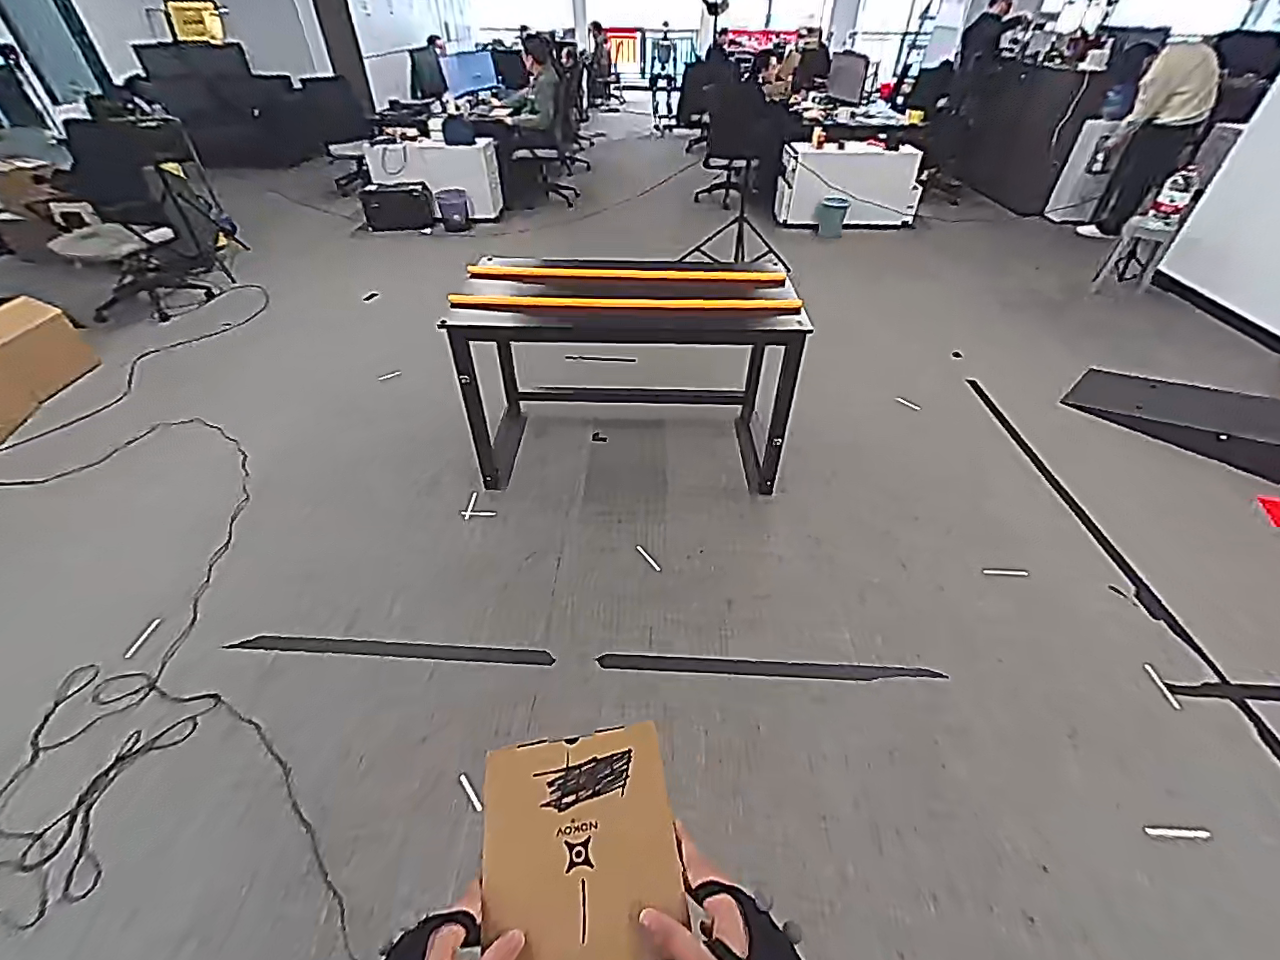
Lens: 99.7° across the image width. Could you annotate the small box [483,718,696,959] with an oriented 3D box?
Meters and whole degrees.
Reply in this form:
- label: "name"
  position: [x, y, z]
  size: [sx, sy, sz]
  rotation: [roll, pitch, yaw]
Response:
- label: "small box"
  position: [-0.046, 0.358, 0.523]
  size: [0.168, 0.176, 0.179]
  rotation: [-9, 49, -3]
